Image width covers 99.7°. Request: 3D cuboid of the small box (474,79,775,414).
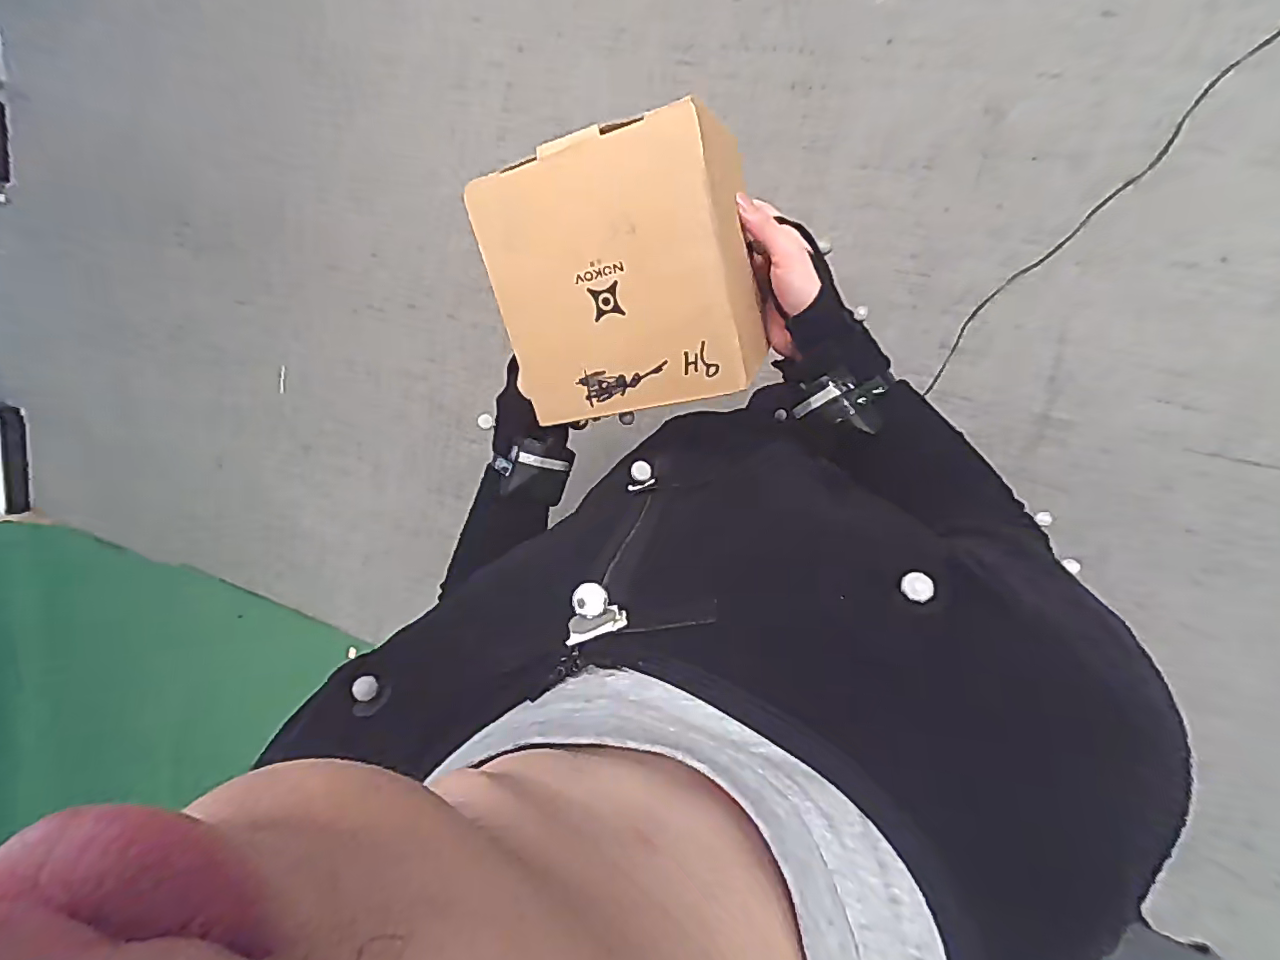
[{"bbox_3d":[0.007,-0.168,0.429,0.168,0.176,0.179,-7,110,22],"label":"small box"}]
